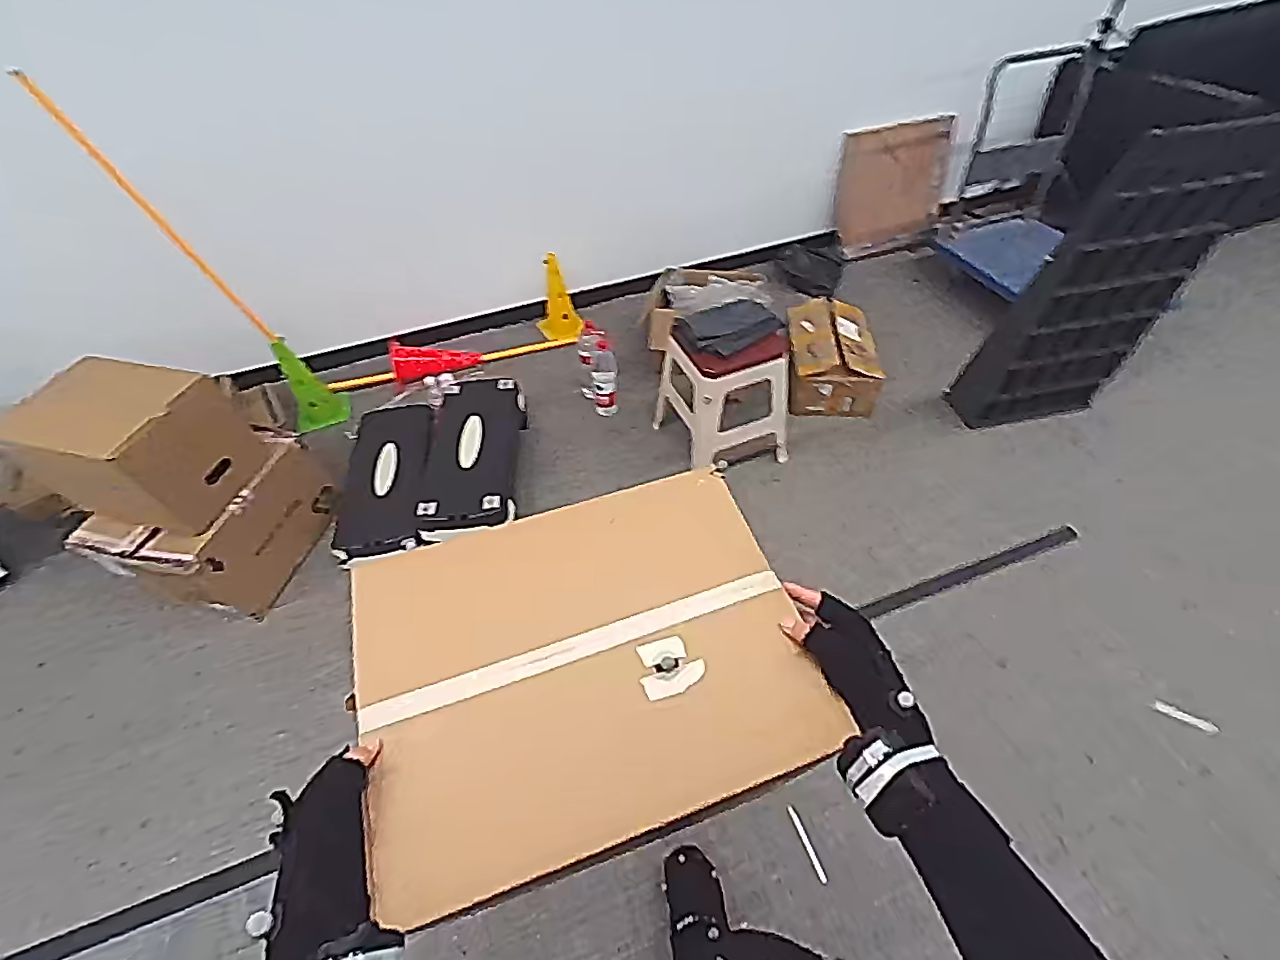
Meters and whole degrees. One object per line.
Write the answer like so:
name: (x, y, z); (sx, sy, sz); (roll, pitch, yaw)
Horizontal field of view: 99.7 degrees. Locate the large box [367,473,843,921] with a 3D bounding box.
large box: (-0.053, 0.249, 0.647); (0.408, 0.320, 0.320); (-16, 57, -12)
